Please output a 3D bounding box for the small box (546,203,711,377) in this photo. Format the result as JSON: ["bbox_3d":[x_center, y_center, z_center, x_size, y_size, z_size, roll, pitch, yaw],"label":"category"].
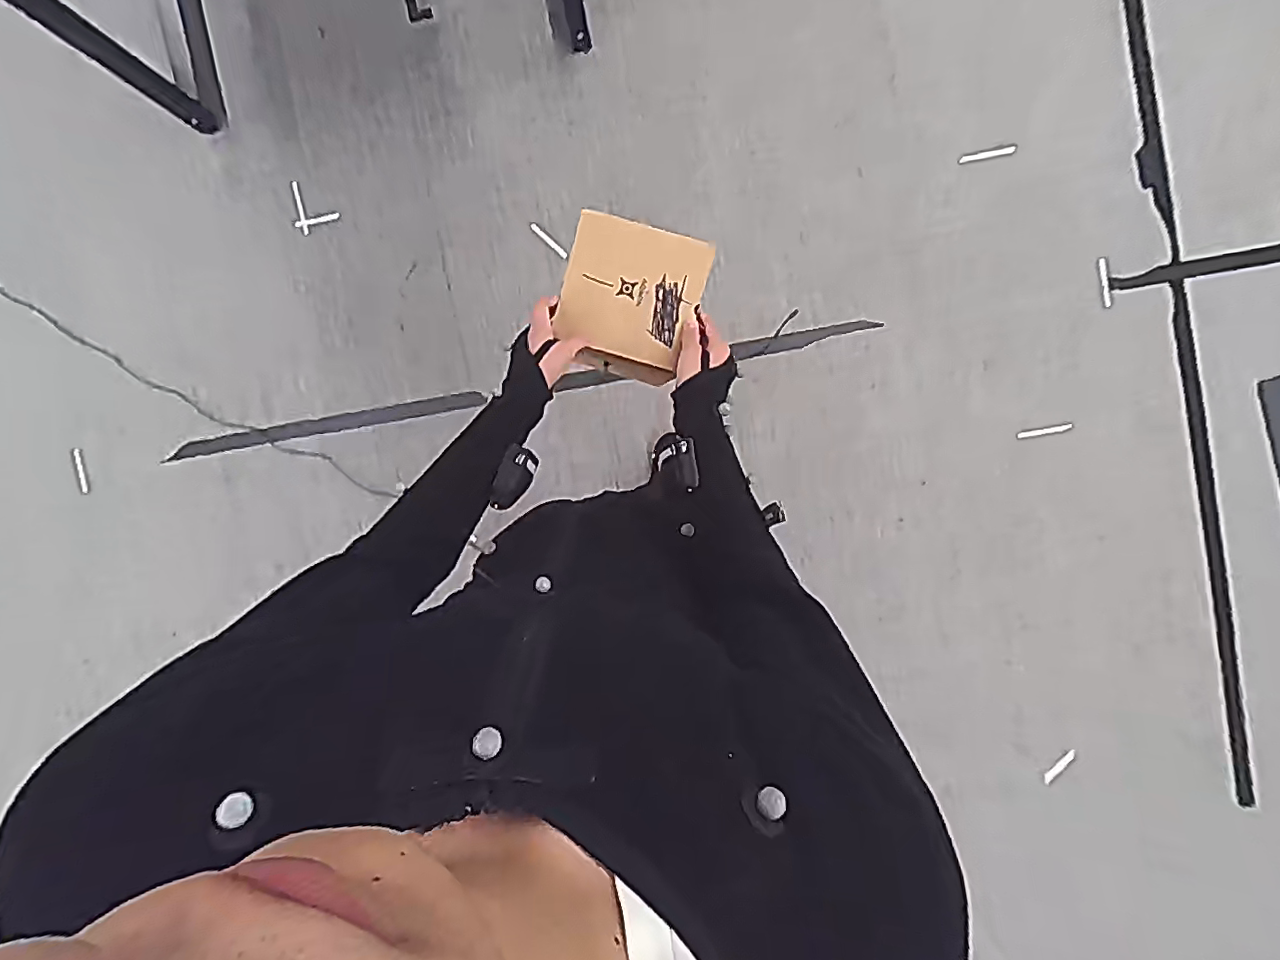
[{"bbox_3d":[-0.022,-0.248,0.756,0.179,0.176,0.168,15,93,-7],"label":"small box"}]
